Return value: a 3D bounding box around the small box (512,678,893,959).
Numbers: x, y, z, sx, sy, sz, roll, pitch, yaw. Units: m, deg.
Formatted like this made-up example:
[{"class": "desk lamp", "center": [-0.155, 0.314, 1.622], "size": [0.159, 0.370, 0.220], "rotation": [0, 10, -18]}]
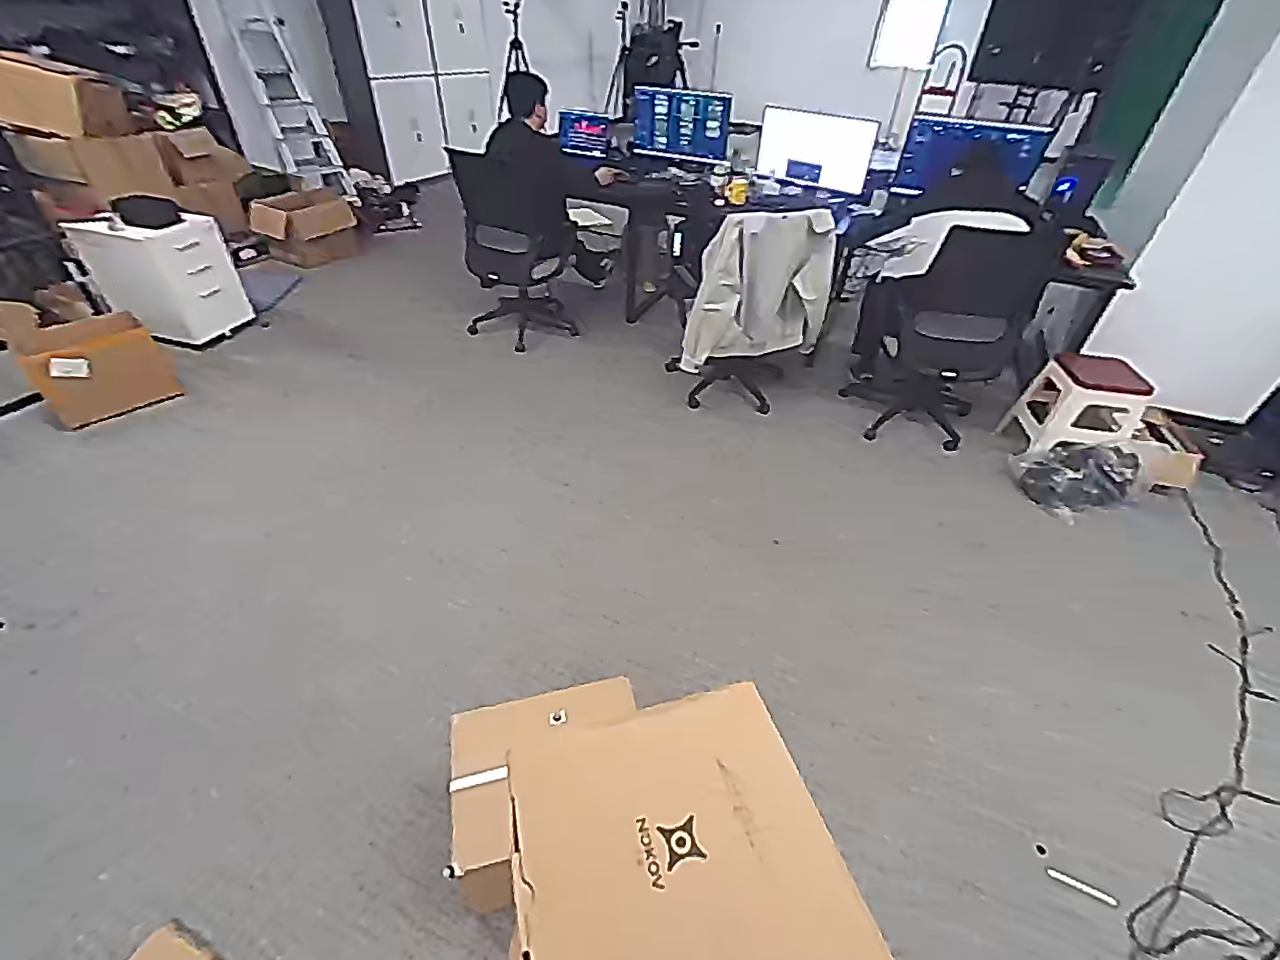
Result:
[{"class": "small box", "center": [0.023, 0.267, 0.356], "size": [0.179, 0.176, 0.168], "rotation": [-10, 40, -13]}]
